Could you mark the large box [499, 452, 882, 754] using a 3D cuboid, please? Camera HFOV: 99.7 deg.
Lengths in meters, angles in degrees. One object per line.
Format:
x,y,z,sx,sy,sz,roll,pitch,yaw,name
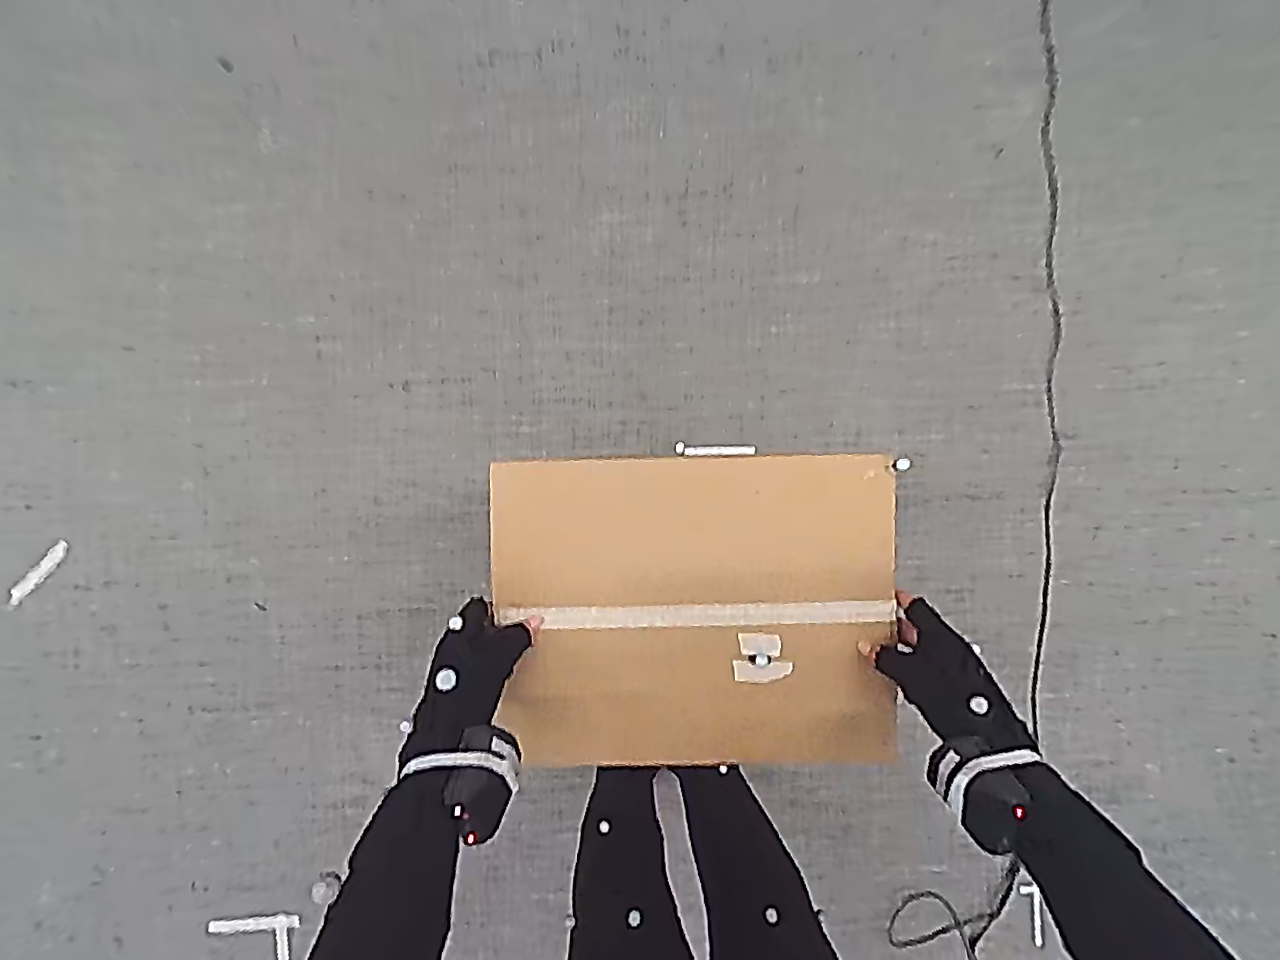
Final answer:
0.054,0.127,0.720,0.408,0.320,0.320,-2,93,0,large box
